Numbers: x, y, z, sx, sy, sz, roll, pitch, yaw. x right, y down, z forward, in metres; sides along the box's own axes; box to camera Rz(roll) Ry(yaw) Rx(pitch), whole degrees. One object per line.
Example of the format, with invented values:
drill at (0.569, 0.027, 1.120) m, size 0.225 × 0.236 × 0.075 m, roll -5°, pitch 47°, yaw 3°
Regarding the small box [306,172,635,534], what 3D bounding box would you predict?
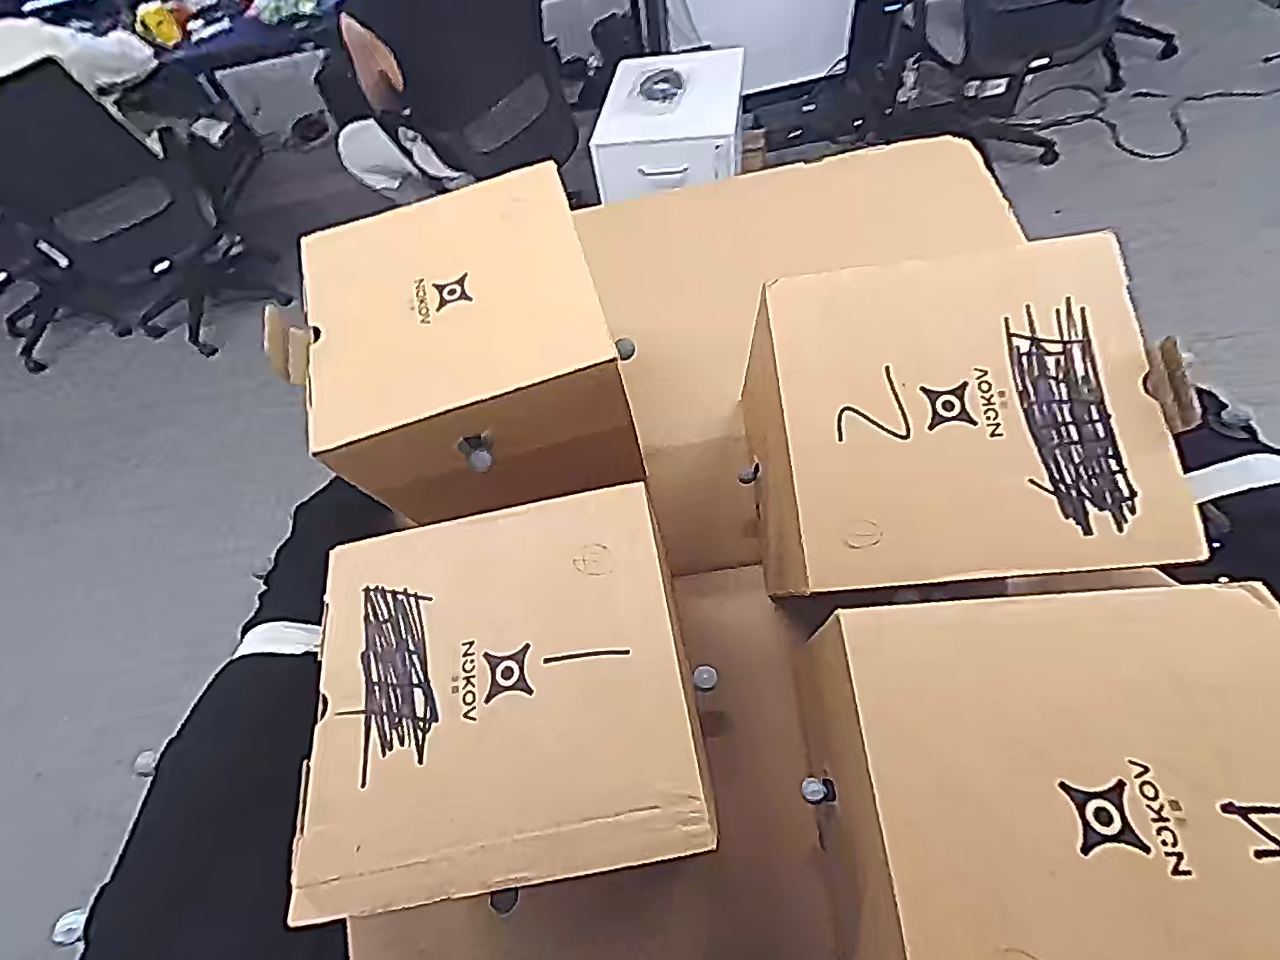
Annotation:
small box at (-0.108, -0.078, 0.401) m, size 0.179 × 0.176 × 0.168 m, roll -18°, pitch 66°, yaw 1°
